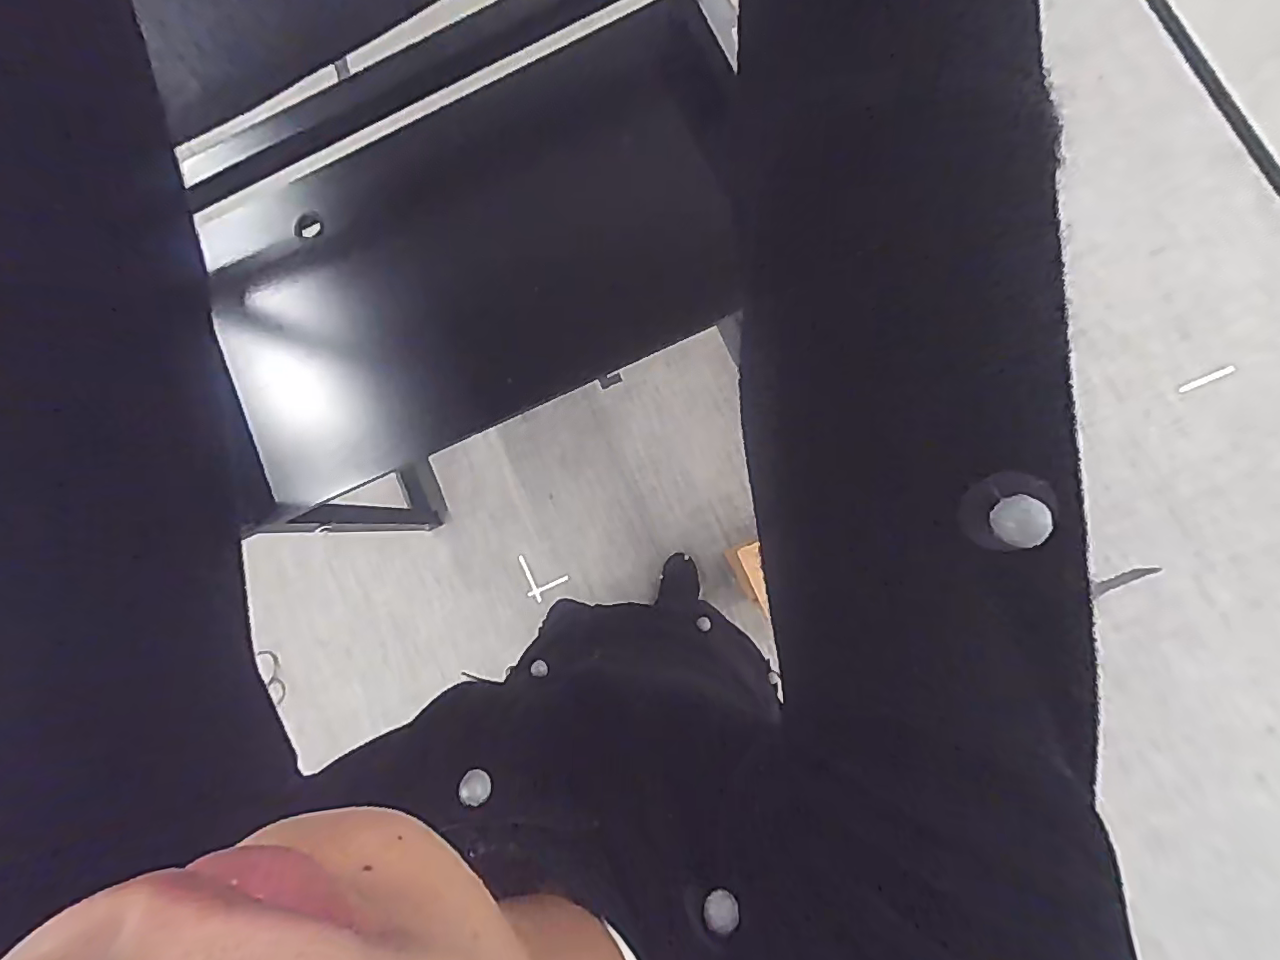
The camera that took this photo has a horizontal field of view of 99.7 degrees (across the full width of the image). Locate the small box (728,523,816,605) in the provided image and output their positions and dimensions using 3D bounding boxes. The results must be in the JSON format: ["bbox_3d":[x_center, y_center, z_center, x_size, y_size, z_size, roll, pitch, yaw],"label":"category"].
[{"bbox_3d":[0.356,0.225,1.499,0.179,0.176,0.168,-26,83,4],"label":"small box"}]
